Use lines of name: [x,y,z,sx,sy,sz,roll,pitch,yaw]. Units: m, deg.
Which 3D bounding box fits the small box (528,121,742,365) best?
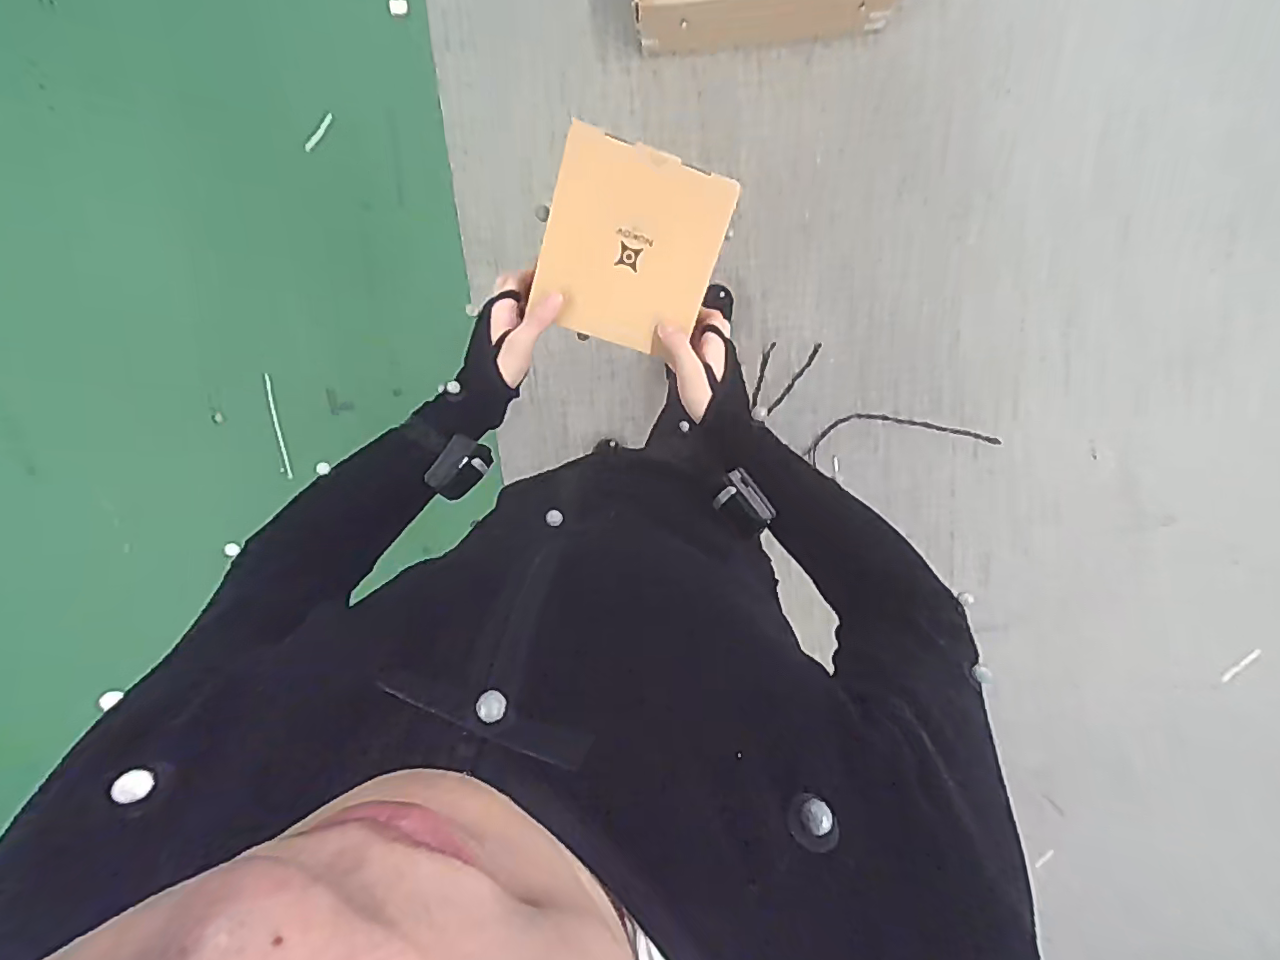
small box: [-0.012,-0.244,0.588,0.168,0.176,0.179,16,108,-10]
